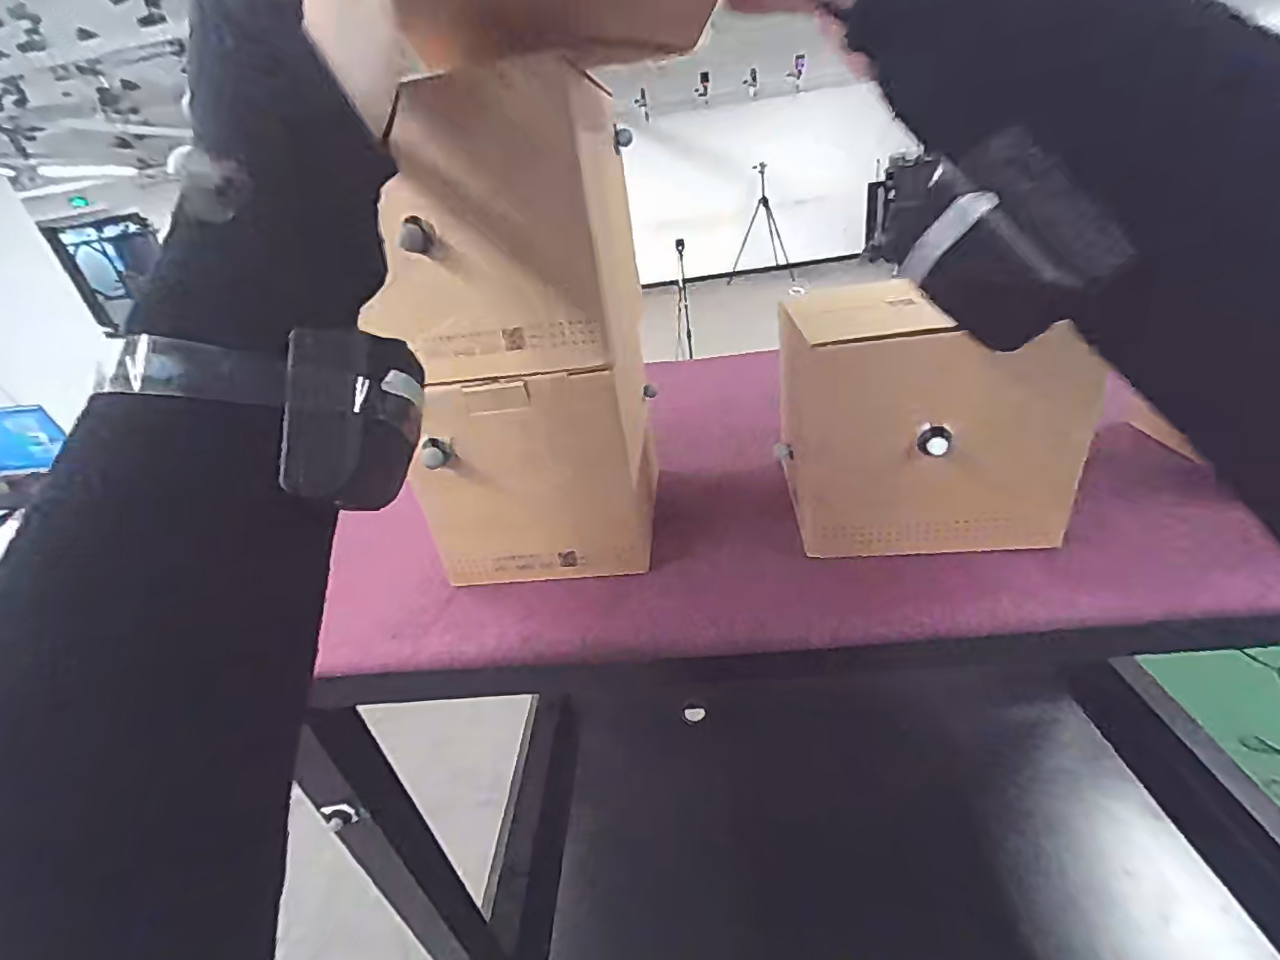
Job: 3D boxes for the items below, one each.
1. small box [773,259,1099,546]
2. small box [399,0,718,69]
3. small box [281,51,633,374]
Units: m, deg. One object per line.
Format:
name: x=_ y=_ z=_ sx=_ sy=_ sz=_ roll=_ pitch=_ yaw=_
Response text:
small box: x=0.204 y=-0.063 z=0.432 sx=0.179 sy=0.176 sz=0.168 roll=-5 pitch=29 yaw=11
small box: x=-0.052 y=-0.326 z=0.262 sx=0.179 sy=0.176 sz=0.168 roll=-12 pitch=22 yaw=-2
small box: x=-0.104 y=-0.182 z=0.403 sx=0.168 sy=0.176 sz=0.179 roll=-4 pitch=28 yaw=10
